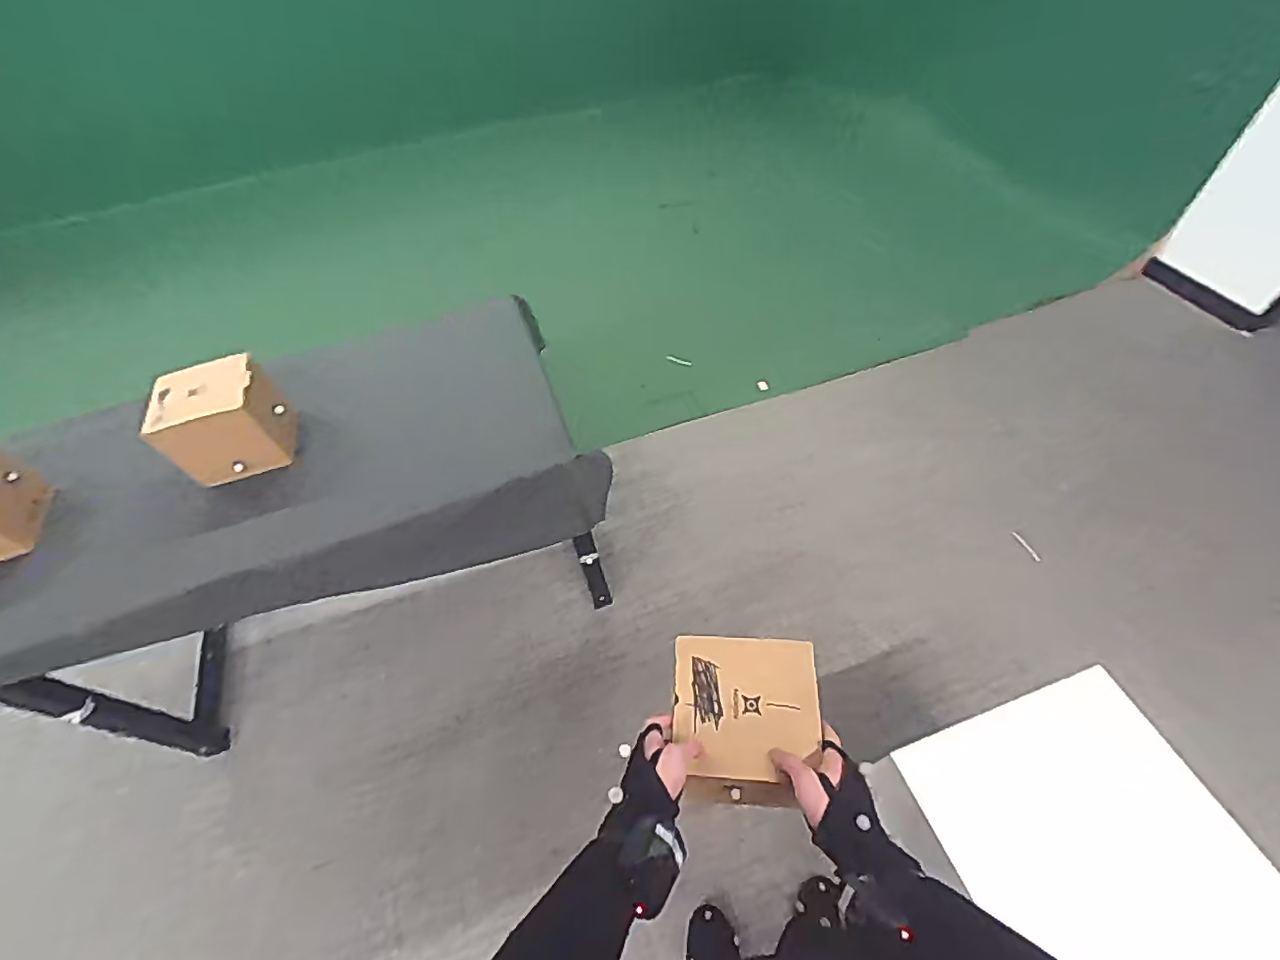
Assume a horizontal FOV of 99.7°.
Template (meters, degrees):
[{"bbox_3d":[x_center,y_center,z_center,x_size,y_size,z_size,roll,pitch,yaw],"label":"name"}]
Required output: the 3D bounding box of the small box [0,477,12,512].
[{"bbox_3d":[-1.269,0.041,0.928,0.179,0.176,0.168,-19,52,-11],"label":"small box"}]

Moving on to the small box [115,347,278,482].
[{"bbox_3d":[-0.830,-0.123,1.037,0.179,0.176,0.168,-17,53,-11],"label":"small box"}]

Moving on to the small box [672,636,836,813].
[{"bbox_3d":[0.134,0.314,0.689,0.179,0.176,0.168,0,50,6],"label":"small box"}]
